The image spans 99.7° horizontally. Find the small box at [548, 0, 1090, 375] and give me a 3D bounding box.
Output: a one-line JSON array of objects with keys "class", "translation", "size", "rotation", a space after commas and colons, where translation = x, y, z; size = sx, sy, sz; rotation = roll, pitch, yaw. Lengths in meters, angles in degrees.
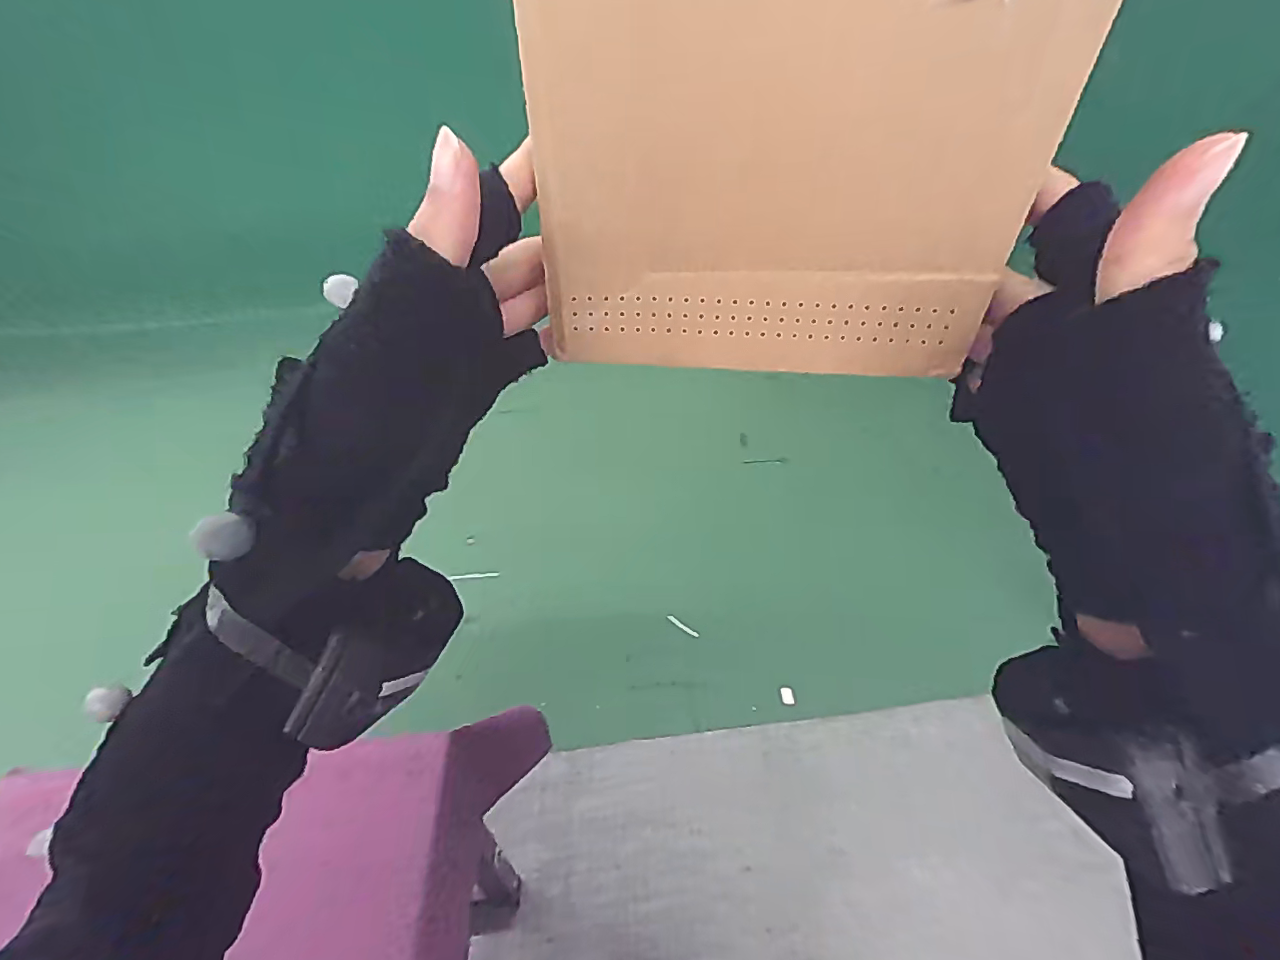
[{"class": "small box", "translation": [0.059, -0.161, 0.247], "size": [0.179, 0.176, 0.168], "rotation": [4, 41, 3]}]
